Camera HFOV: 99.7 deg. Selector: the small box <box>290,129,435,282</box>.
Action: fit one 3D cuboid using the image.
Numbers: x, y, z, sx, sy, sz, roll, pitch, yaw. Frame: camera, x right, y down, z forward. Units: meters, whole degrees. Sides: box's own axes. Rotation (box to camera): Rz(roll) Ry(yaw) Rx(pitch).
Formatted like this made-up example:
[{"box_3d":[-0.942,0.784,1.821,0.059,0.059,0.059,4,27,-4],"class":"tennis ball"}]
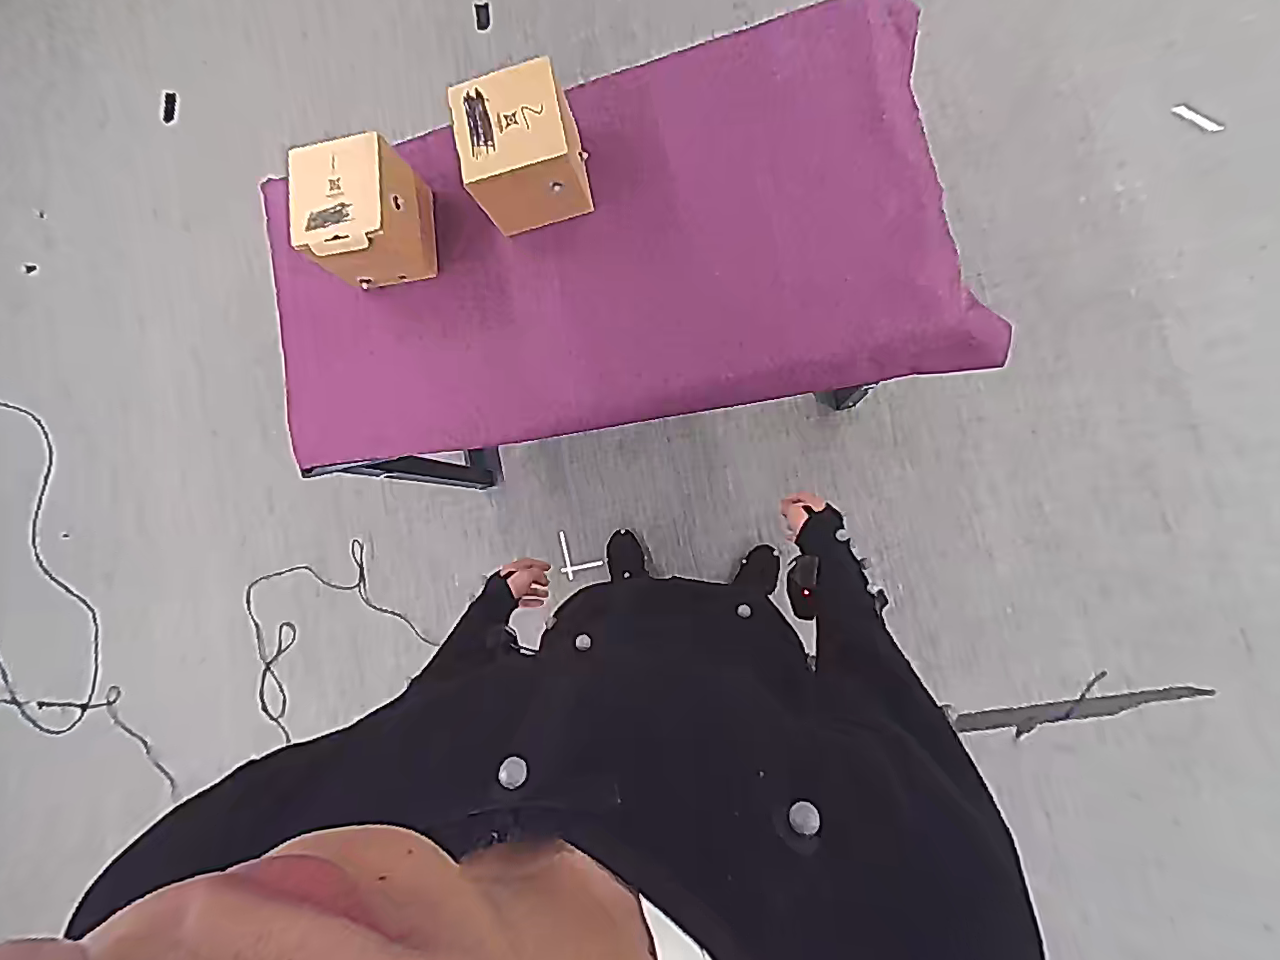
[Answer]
[{"box_3d":[-0.479,-0.468,0.955,0.168,0.176,0.179,-6,85,8],"class":"small box"}]
